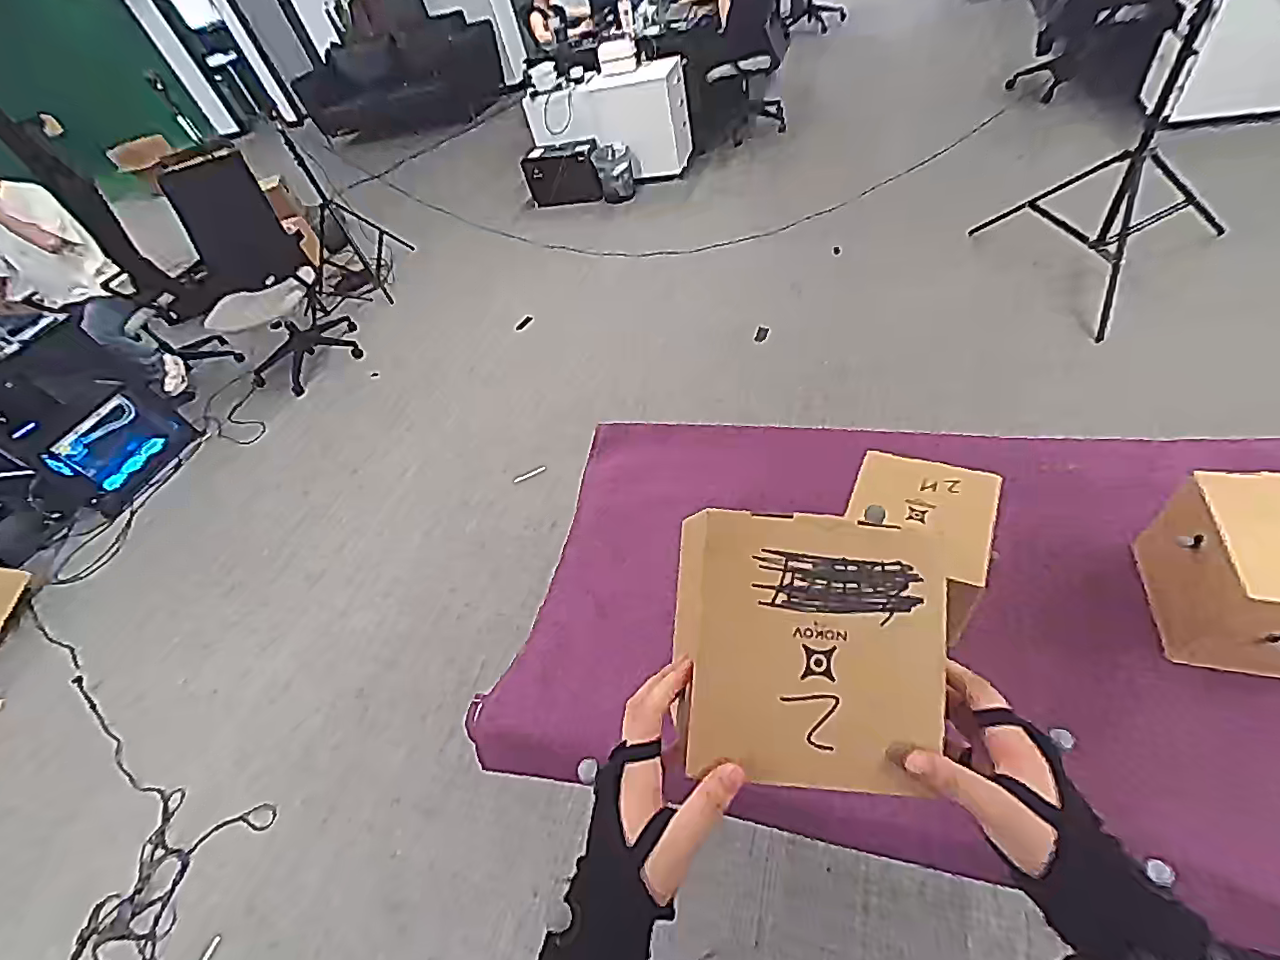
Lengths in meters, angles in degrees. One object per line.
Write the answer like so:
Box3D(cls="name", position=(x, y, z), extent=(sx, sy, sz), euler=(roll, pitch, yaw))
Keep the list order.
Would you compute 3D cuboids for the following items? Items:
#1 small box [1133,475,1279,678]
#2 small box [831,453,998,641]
Box3D(cls="small box", position=(0.727, 0.117, 0.630), extent=(0.168, 0.176, 0.179), euler=(5, 50, 20))
Box3D(cls="small box", position=(0.370, 0.094, 0.749), extent=(0.168, 0.176, 0.179), euler=(15, 55, 26))
